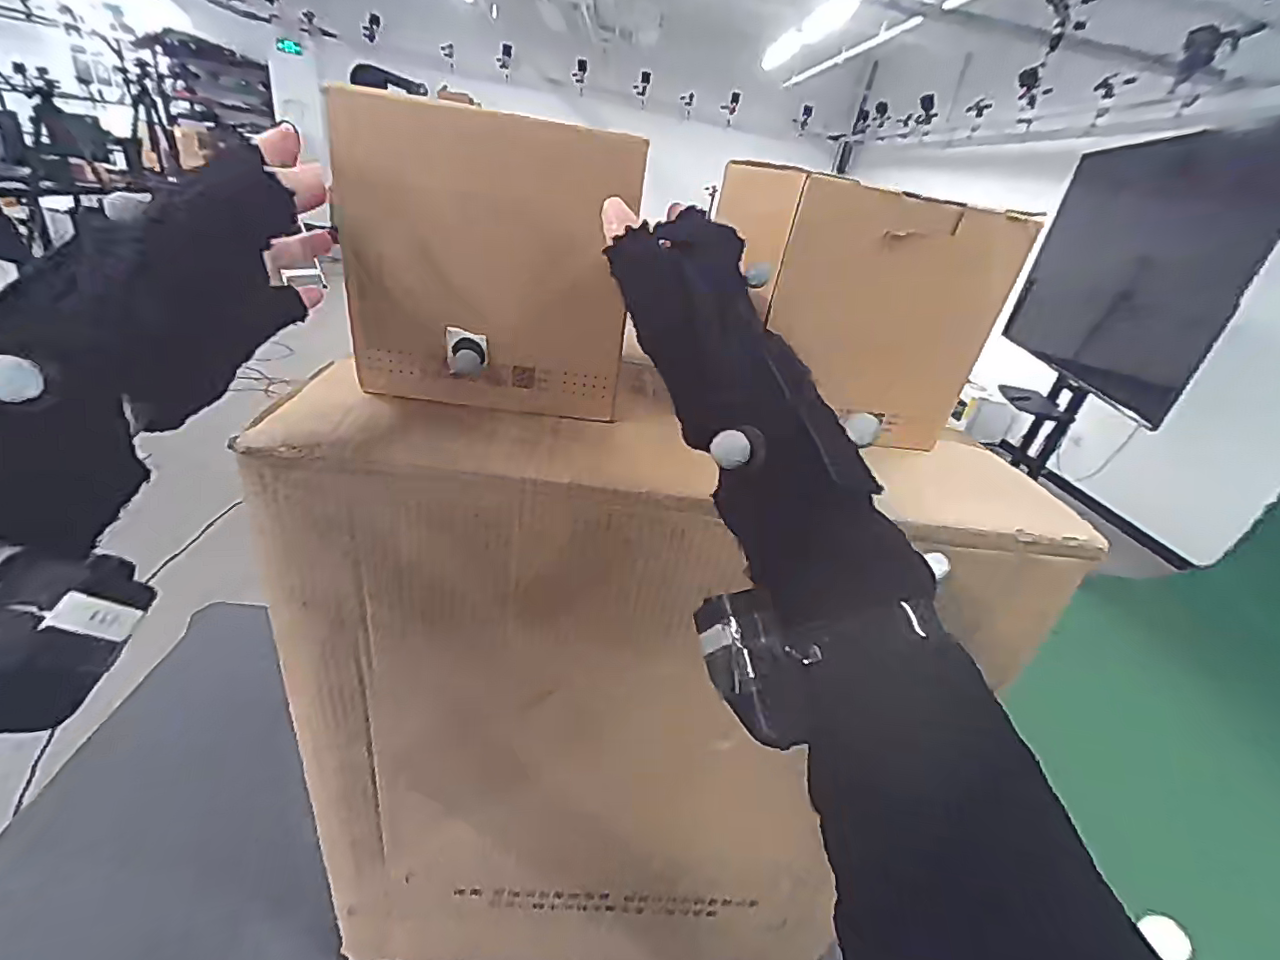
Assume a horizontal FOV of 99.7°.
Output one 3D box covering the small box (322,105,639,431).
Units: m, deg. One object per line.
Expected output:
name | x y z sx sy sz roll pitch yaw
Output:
small box | -0.095 -0.152 0.390 0.168 0.176 0.179 3 32 -6

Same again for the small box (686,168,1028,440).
small box | 0.143 -0.141 0.433 0.168 0.176 0.179 3 29 -11
